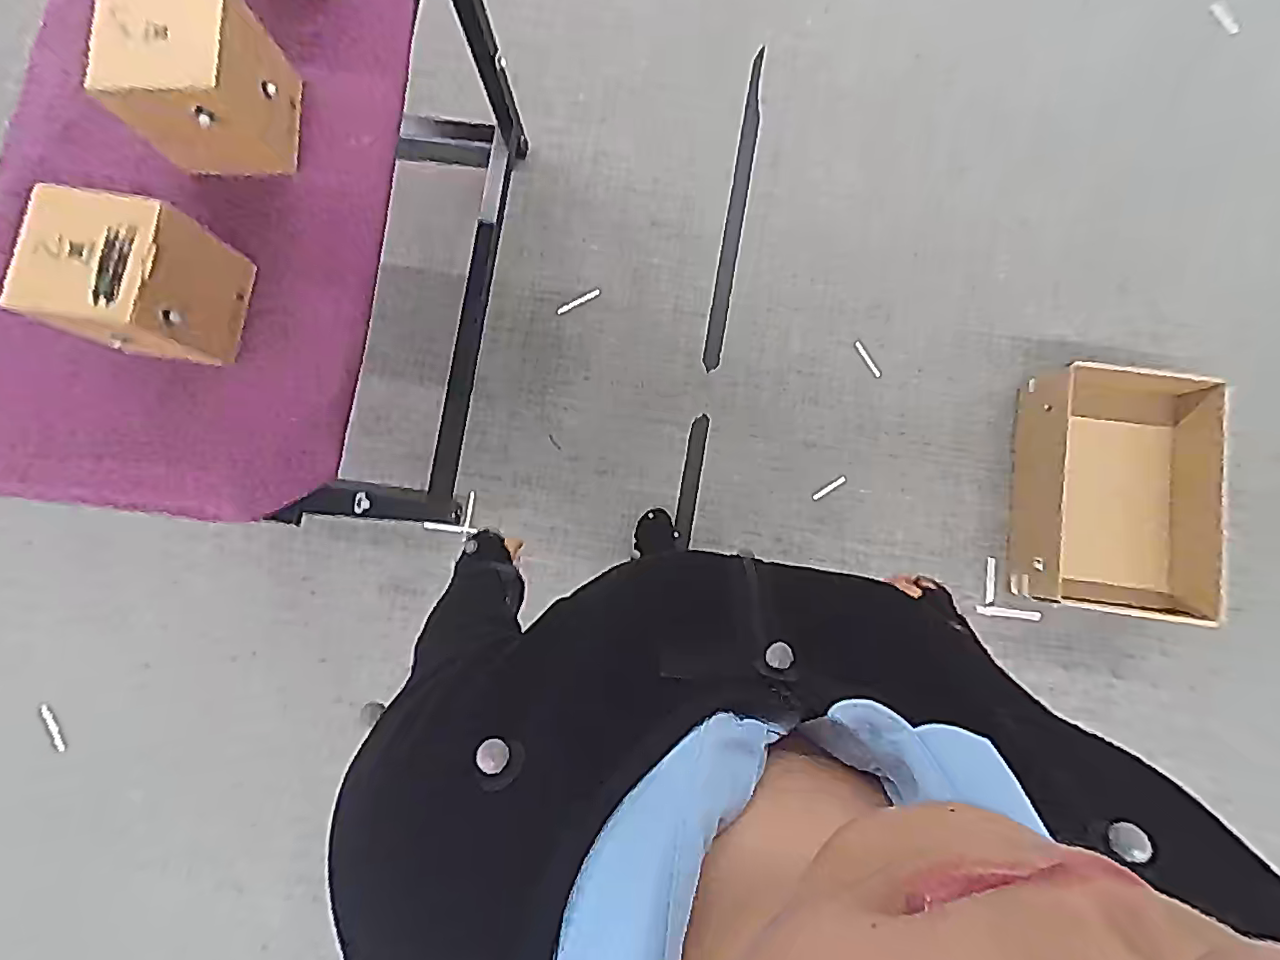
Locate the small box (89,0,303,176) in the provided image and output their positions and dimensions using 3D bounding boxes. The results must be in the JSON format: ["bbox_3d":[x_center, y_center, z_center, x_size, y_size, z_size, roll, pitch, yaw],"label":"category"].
[{"bbox_3d":[-0.631,-0.574,0.793,0.179,0.176,0.168,0,83,1],"label":"small box"}]
